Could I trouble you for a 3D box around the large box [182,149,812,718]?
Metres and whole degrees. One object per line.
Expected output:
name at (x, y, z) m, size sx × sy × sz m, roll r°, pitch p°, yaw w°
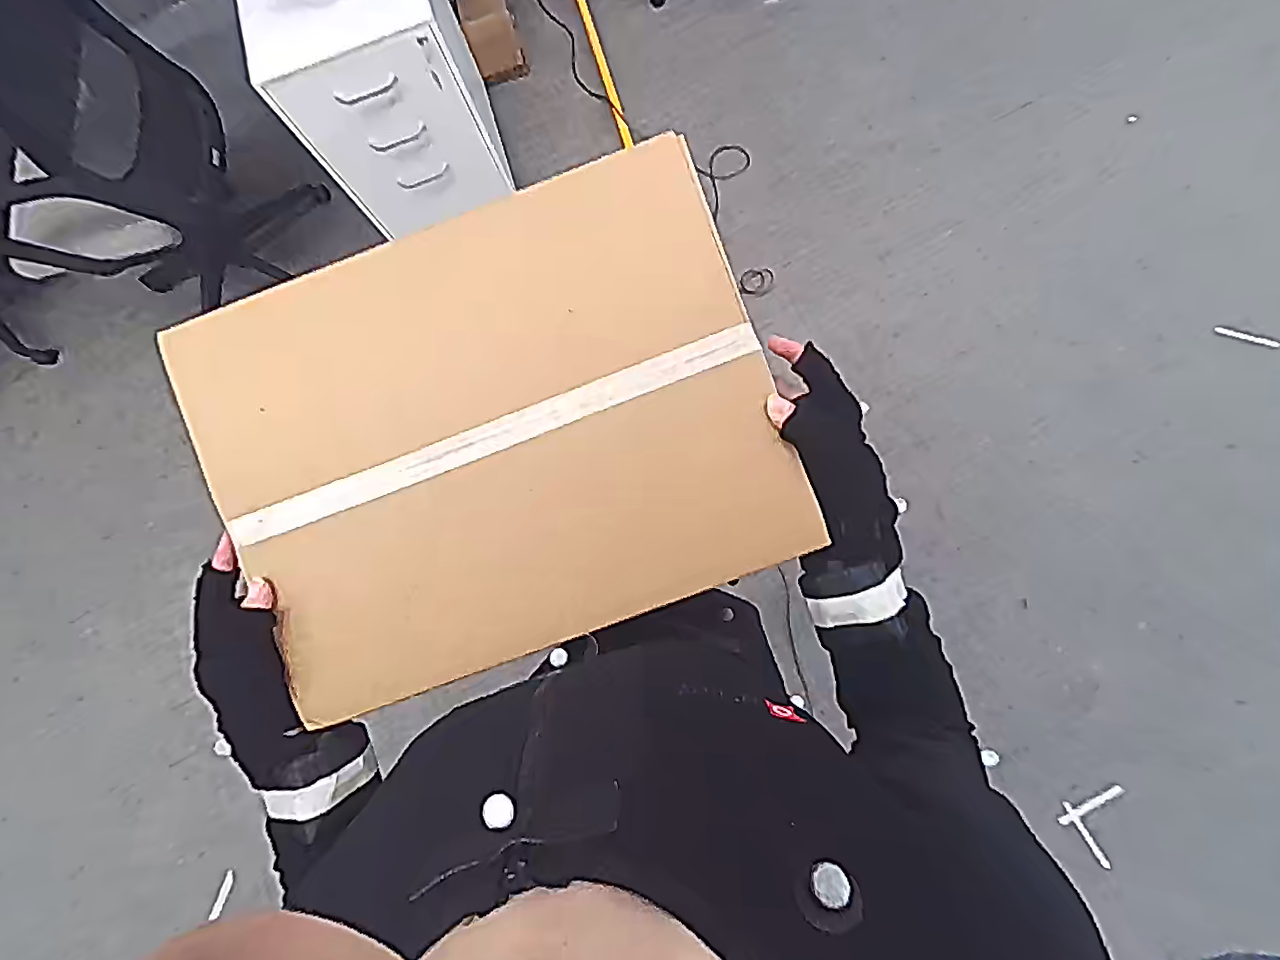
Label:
large box at (-0.103, -0.035, 0.549) m, size 0.408 × 0.320 × 0.320 m, roll -20°, pitch 90°, yaw 2°
